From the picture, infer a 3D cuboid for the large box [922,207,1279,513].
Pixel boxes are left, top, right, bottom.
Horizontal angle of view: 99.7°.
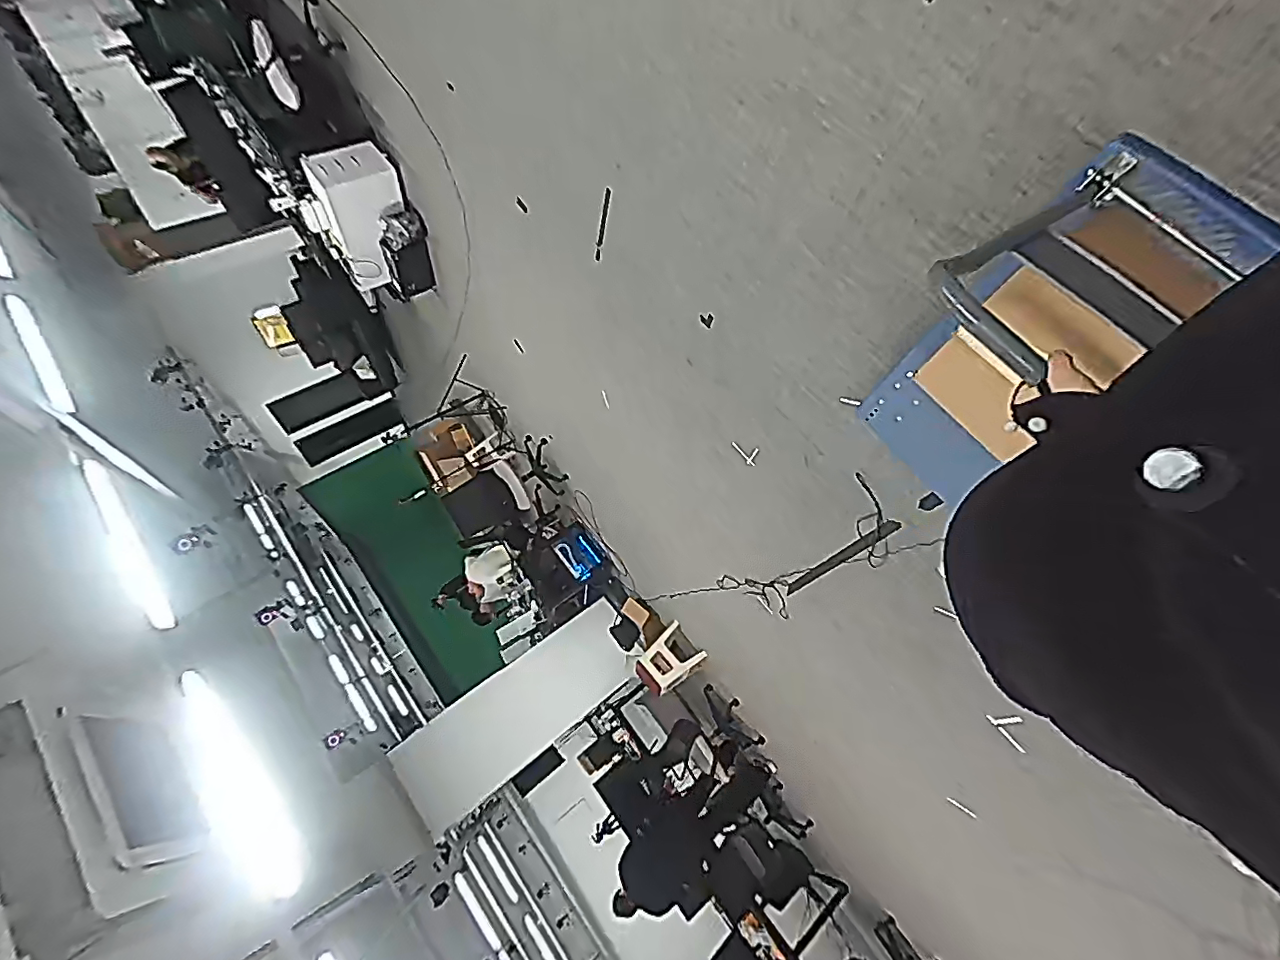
[{"bbox_3d":[0.853,-0.220,1.011,0.408,0.320,0.320,51,155,15],"label":"large box"}]
